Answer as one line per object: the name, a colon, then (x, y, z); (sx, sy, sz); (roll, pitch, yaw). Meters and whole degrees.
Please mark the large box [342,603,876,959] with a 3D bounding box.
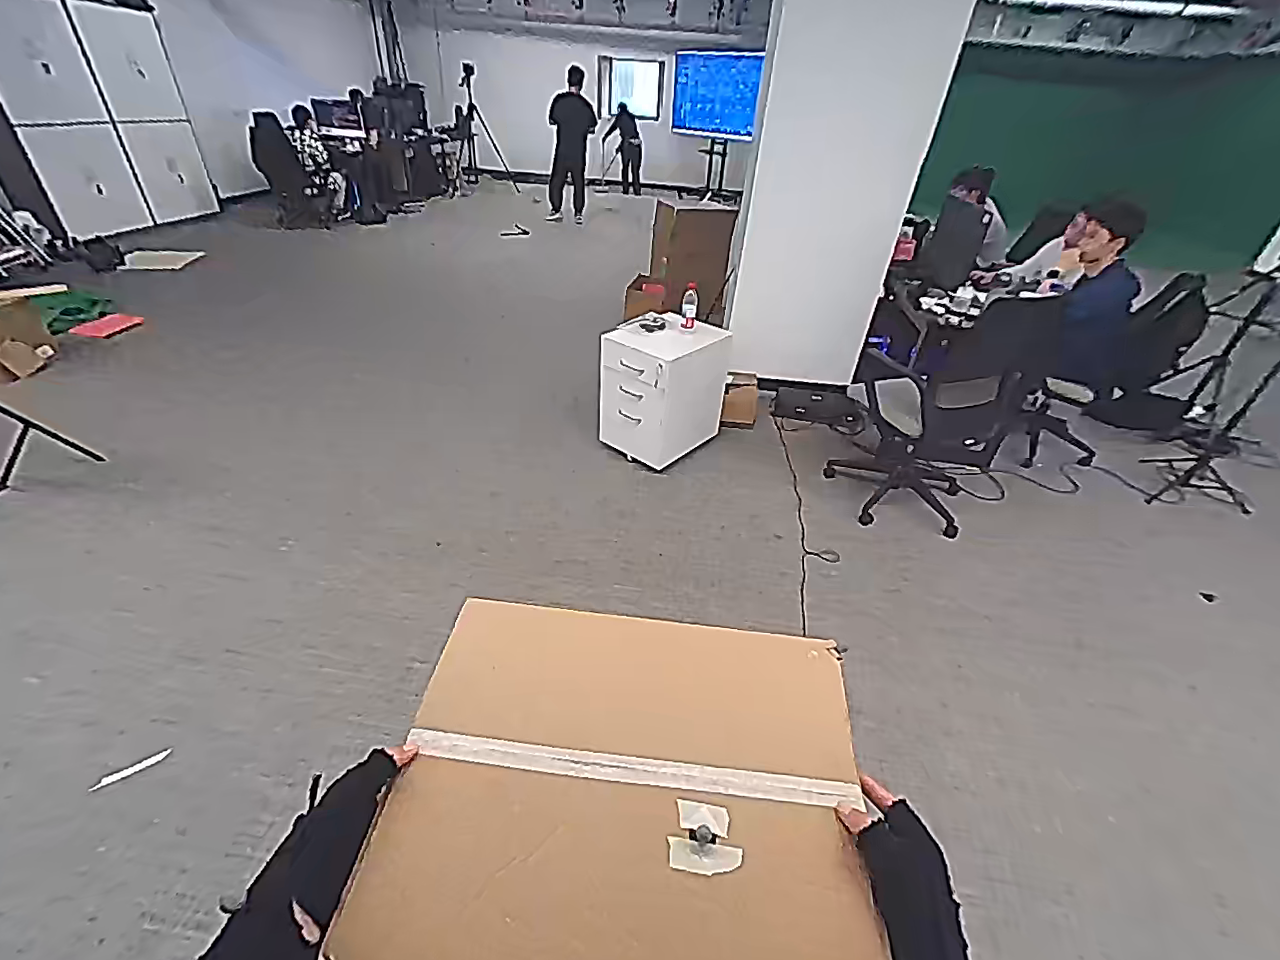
large box: (-0.017, 0.370, 0.596); (0.408, 0.320, 0.320); (6, 43, 3)
